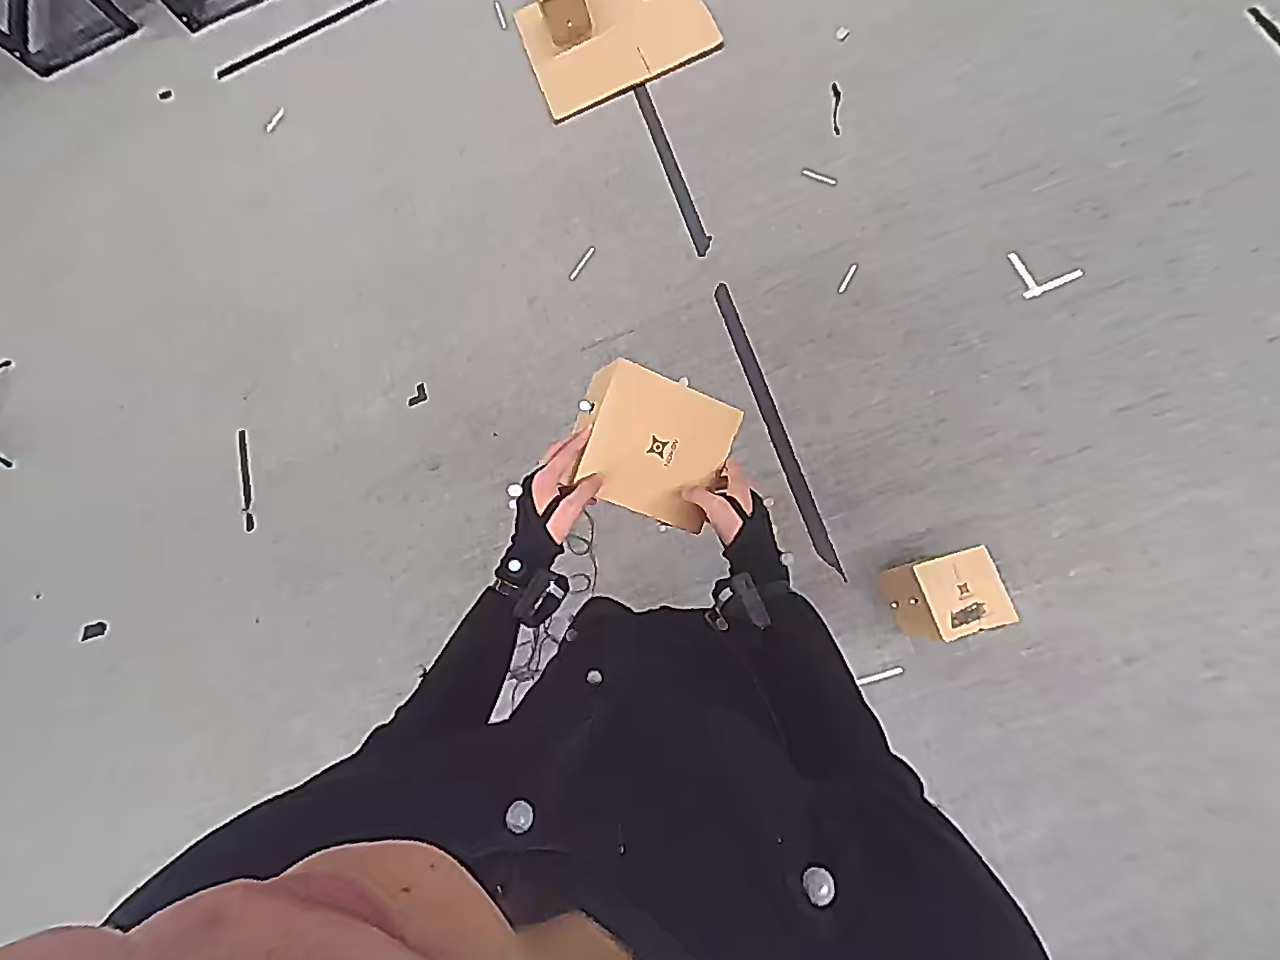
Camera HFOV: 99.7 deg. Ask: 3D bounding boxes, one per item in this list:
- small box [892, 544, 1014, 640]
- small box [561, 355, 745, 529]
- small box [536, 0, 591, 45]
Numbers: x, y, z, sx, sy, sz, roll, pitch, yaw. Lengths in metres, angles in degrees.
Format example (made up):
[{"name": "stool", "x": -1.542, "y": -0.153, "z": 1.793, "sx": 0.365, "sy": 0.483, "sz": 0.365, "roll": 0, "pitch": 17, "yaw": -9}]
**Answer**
[{"name": "small box", "x": 0.723, "y": 0.263, "z": 1.269, "sx": 0.168, "sy": 0.176, "sz": 0.179, "roll": -18, "pitch": 74, "yaw": 5}, {"name": "small box", "x": 0.006, "y": -0.048, "z": 0.726, "sx": 0.179, "sy": 0.176, "sz": 0.168, "roll": 21, "pitch": 89, "yaw": -16}, {"name": "small box", "x": -0.308, "y": -1.845, "z": 2.084, "sx": 0.168, "sy": 0.176, "sz": 0.179, "roll": -22, "pitch": 75, "yaw": 6}]
